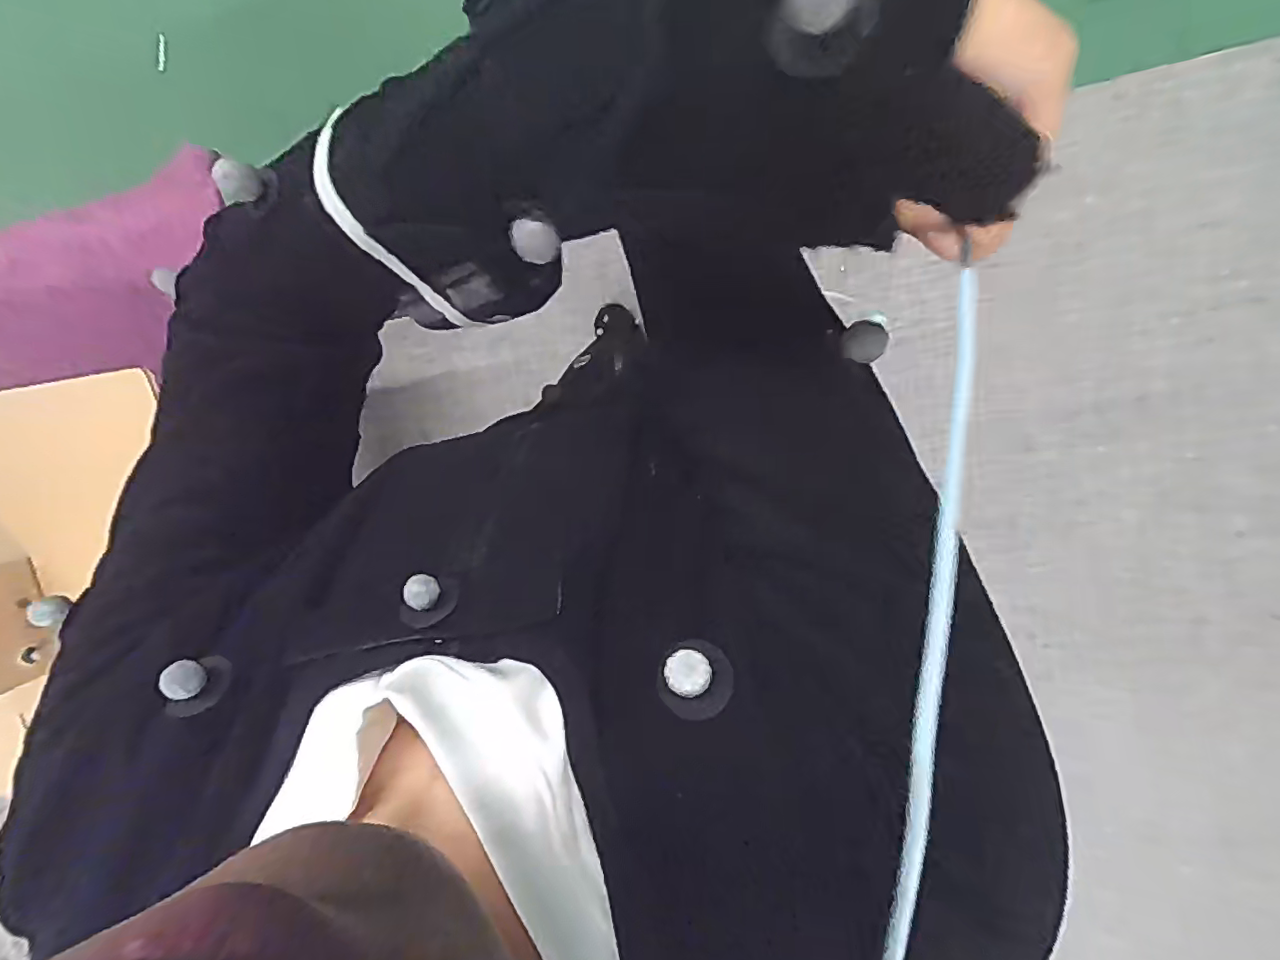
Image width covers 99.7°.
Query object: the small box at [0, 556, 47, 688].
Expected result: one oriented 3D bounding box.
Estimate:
[{"bbox_3d":[-0.907,0.202,0.671,0.179,0.176,0.168,-8,102,12],"label":"small box"}]
